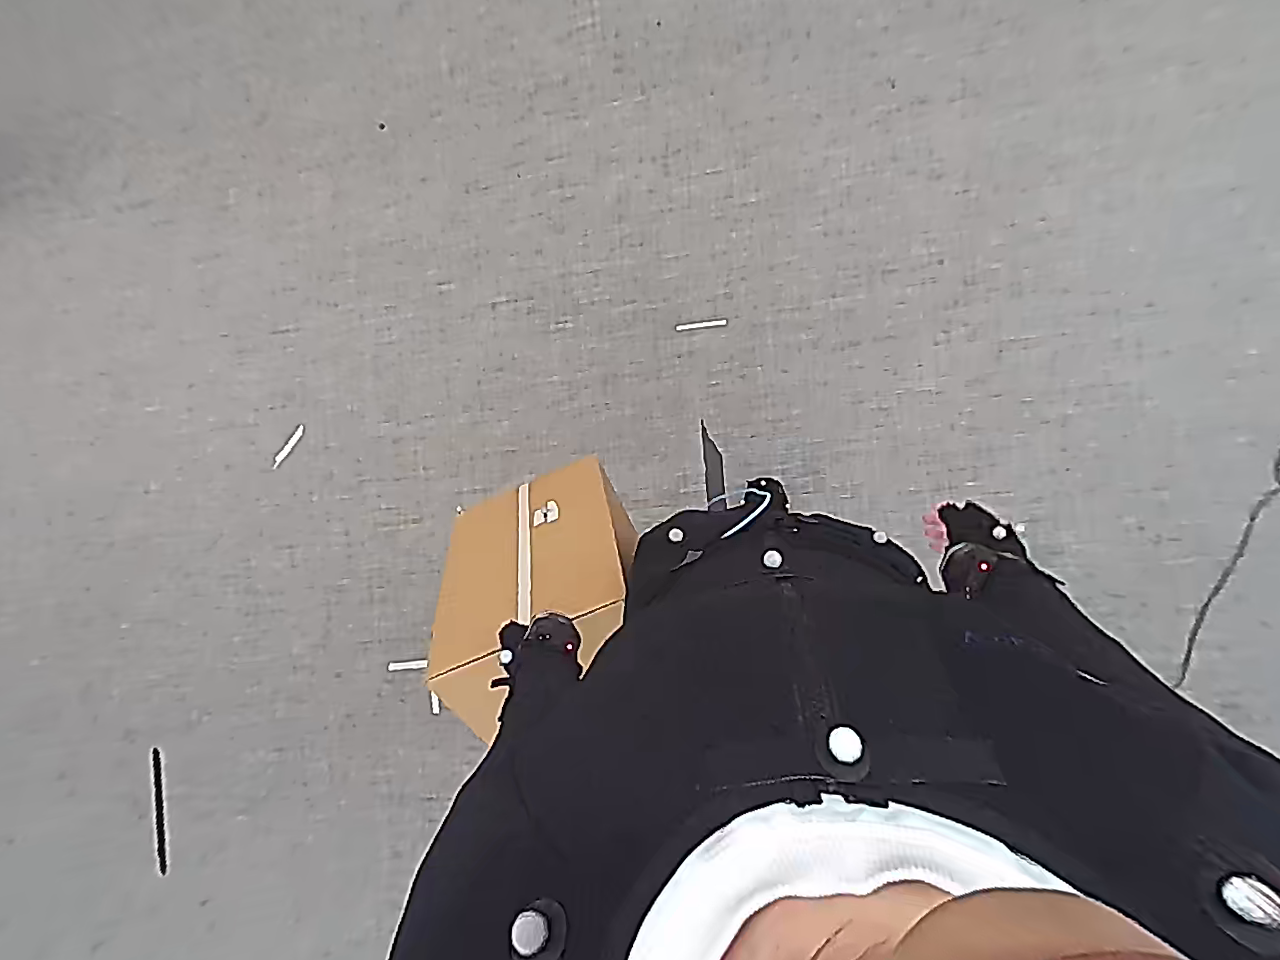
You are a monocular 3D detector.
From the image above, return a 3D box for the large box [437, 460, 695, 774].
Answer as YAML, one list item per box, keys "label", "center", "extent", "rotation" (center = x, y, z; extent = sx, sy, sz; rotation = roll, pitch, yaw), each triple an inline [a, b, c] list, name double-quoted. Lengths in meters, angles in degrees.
- label: "large box"
  center: [-0.132, 0.232, 0.998]
  extent: [0.320, 0.408, 0.320]
  rotation: [-23, 123, 2]
